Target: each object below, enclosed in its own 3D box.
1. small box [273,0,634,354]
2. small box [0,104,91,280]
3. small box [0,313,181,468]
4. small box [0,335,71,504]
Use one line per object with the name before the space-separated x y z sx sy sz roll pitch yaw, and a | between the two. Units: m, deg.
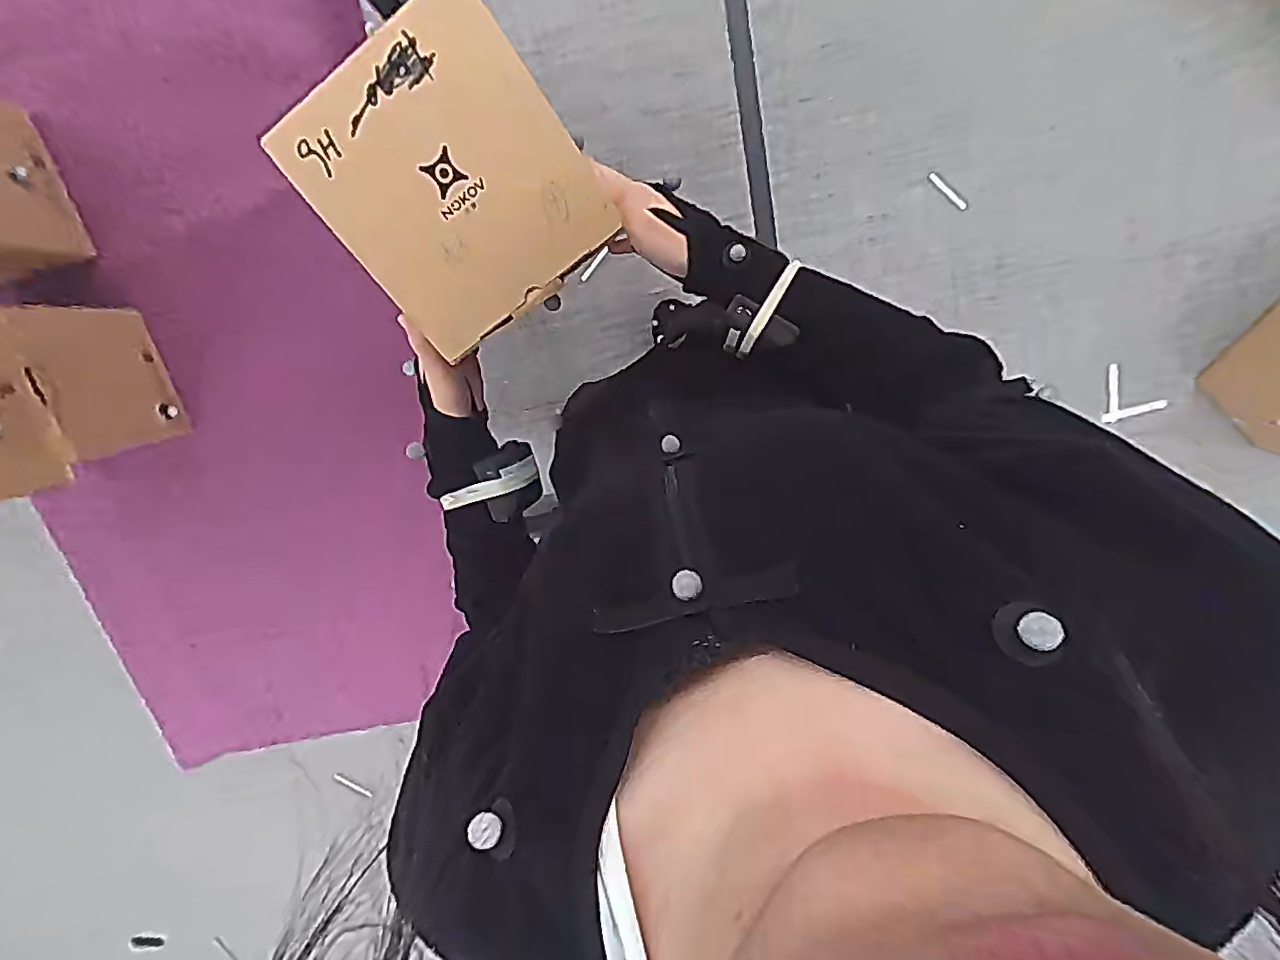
small box | -0.123 -0.230 0.429 0.168 0.176 0.179 -34 112 8
small box | -0.771 -0.310 0.574 0.179 0.176 0.168 -12 107 2
small box | -0.701 -0.098 0.637 0.179 0.176 0.168 -12 106 3
small box | -0.702 -0.038 0.486 0.179 0.176 0.168 -10 106 1
